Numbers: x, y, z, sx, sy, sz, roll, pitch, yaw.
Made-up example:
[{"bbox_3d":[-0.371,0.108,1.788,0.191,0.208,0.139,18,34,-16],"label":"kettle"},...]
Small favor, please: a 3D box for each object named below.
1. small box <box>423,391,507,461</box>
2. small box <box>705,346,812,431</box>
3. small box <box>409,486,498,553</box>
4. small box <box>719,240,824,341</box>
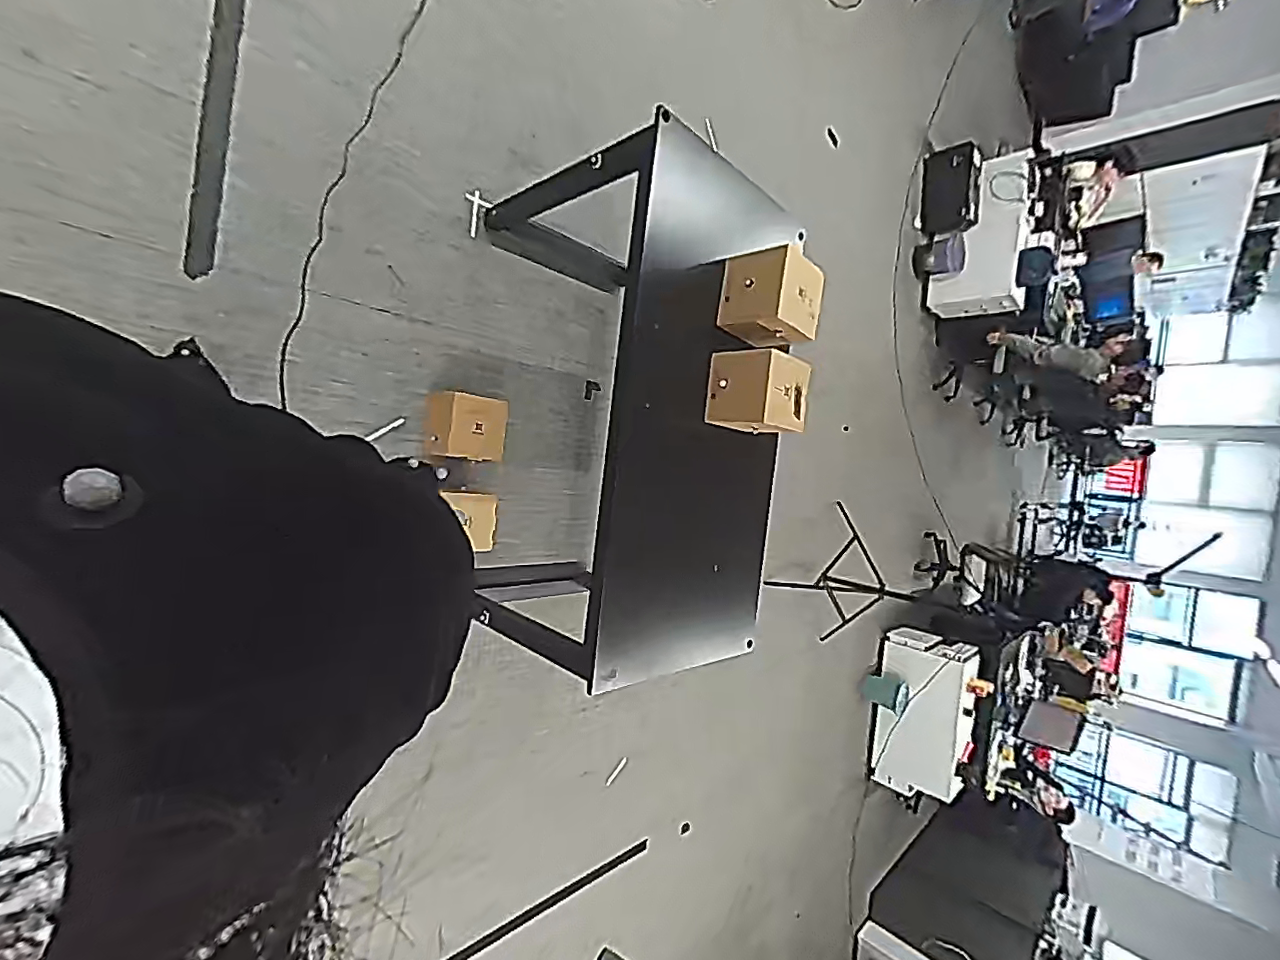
[{"bbox_3d":[-0.501,-0.152,1.540,0.168,0.176,0.179,5,91,-46],"label":"small box"},{"bbox_3d":[0.277,-0.211,1.273,0.179,0.176,0.168,4,93,-44],"label":"small box"},{"bbox_3d":[-0.532,0.109,1.539,0.179,0.176,0.168,4,92,-46],"label":"small box"},{"bbox_3d":[0.307,-0.434,1.274,0.179,0.176,0.168,10,89,-45],"label":"small box"}]
